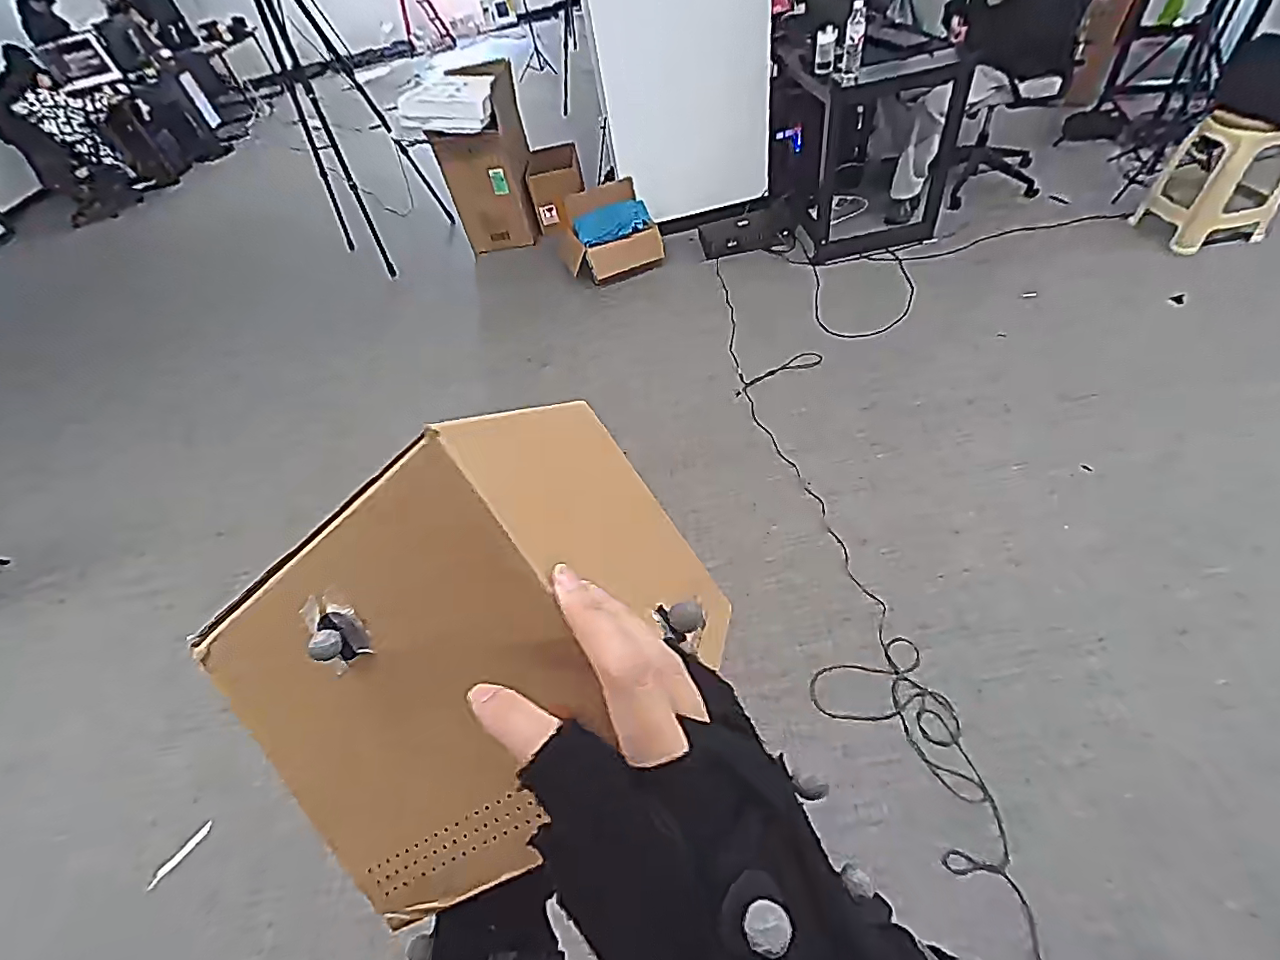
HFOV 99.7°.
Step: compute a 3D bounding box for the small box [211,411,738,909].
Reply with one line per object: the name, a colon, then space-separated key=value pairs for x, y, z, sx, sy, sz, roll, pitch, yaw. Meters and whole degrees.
small box: x=-0.070 y=0.085 z=0.302 sx=0.179 sy=0.176 sz=0.168 roll=-36 pitch=1 yaw=19
